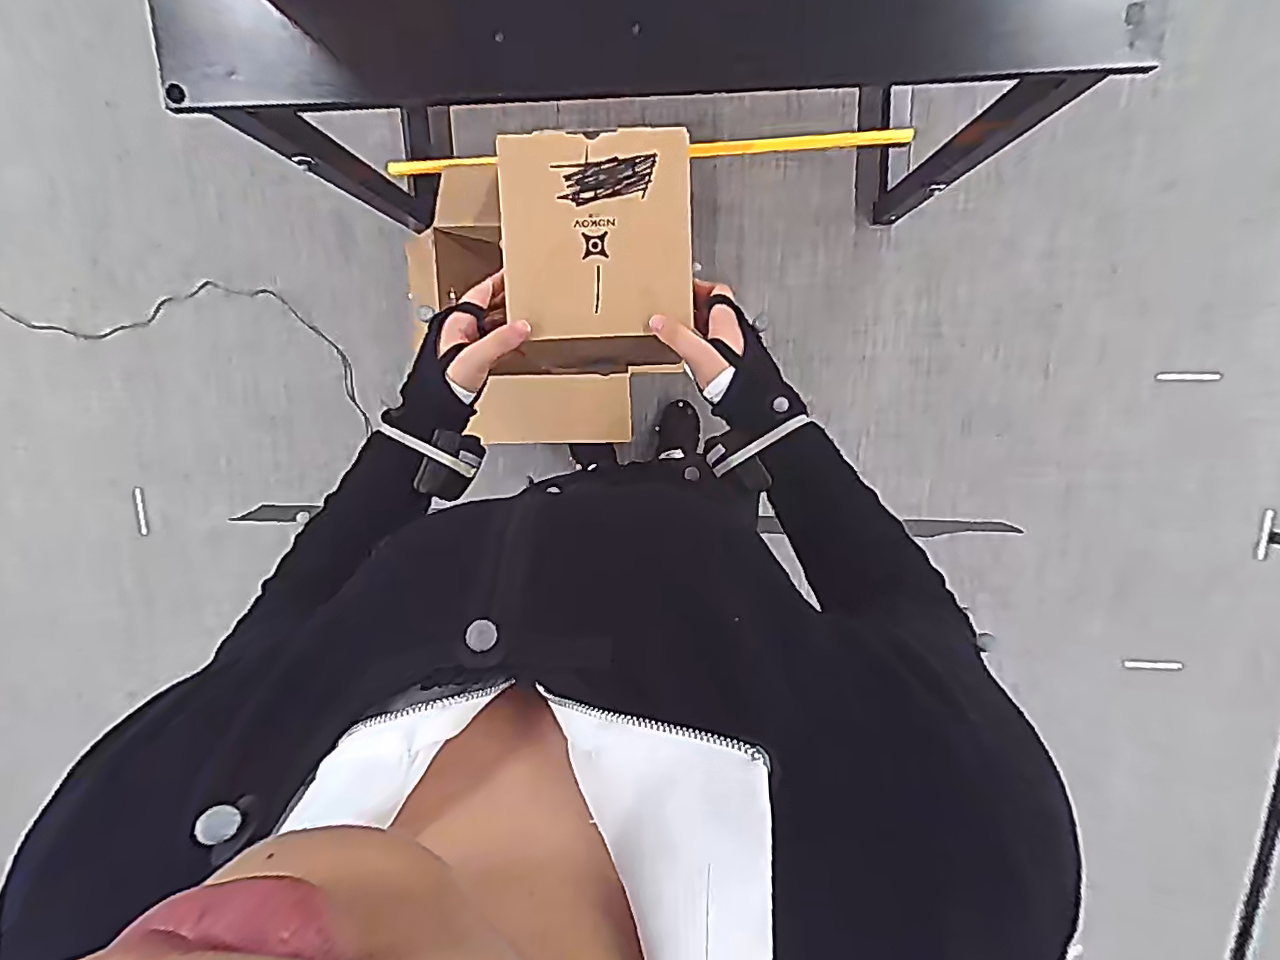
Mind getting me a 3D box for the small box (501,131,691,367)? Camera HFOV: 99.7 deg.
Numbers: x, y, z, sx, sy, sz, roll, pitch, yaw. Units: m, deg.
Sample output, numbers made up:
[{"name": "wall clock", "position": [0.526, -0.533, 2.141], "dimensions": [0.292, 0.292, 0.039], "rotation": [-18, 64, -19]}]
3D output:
[{"name": "small box", "position": [-0.038, -0.218, 0.553], "dimensions": [0.168, 0.176, 0.179], "rotation": [-2, 93, 1]}]
